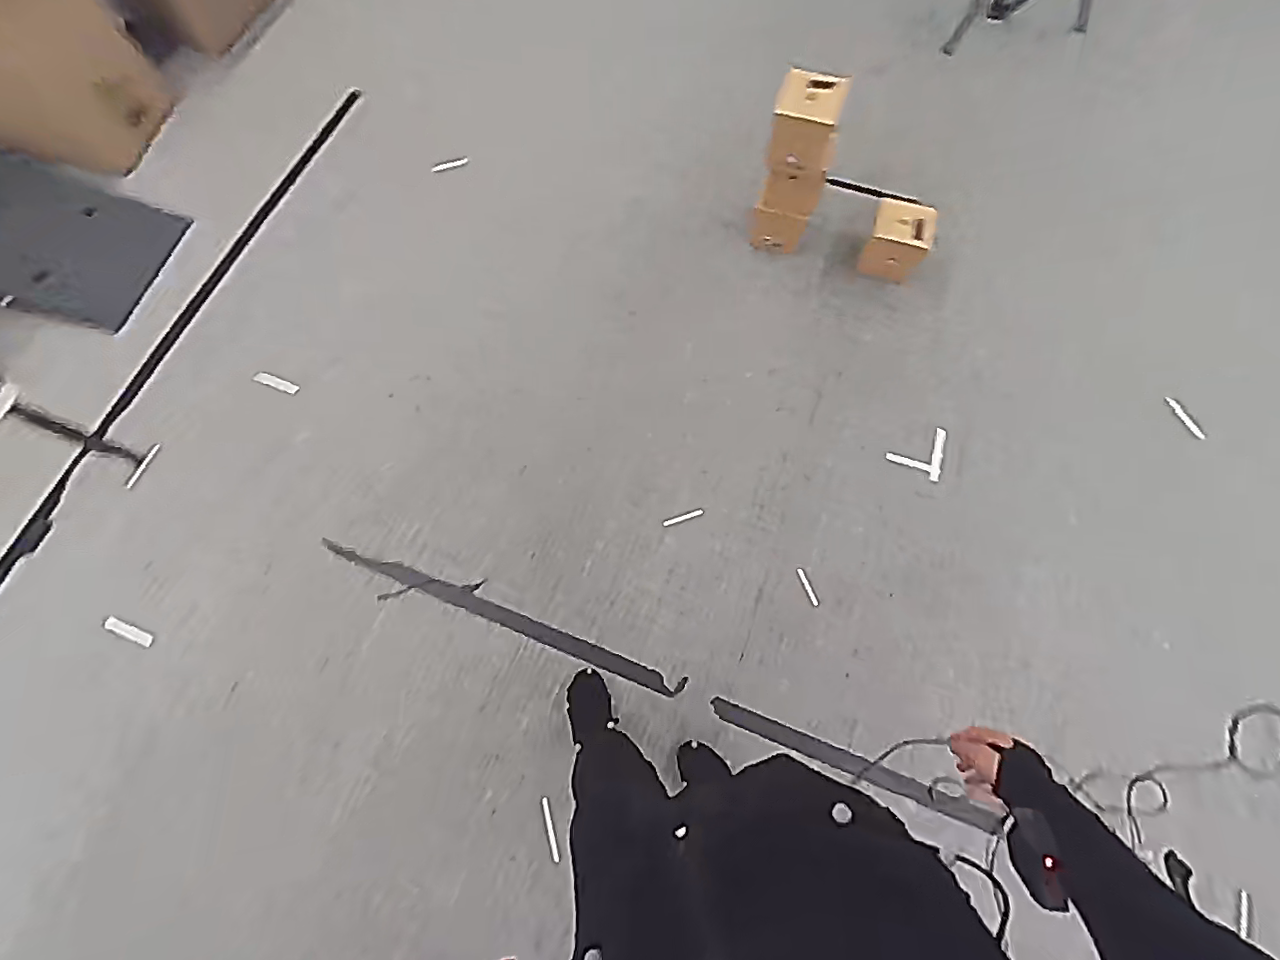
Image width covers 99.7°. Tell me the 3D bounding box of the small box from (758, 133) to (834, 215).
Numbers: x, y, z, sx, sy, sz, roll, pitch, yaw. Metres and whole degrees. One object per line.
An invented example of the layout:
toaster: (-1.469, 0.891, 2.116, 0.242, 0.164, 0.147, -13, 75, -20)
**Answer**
small box: (0.475, -0.951, 1.670, 0.179, 0.176, 0.168, 14, 72, 6)

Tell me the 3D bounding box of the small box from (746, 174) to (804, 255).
small box: (0.465, -0.900, 1.825, 0.168, 0.176, 0.179, 15, 73, 7)

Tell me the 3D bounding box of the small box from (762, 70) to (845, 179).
small box: (0.449, -0.988, 1.509, 0.168, 0.176, 0.179, 18, 73, 8)
